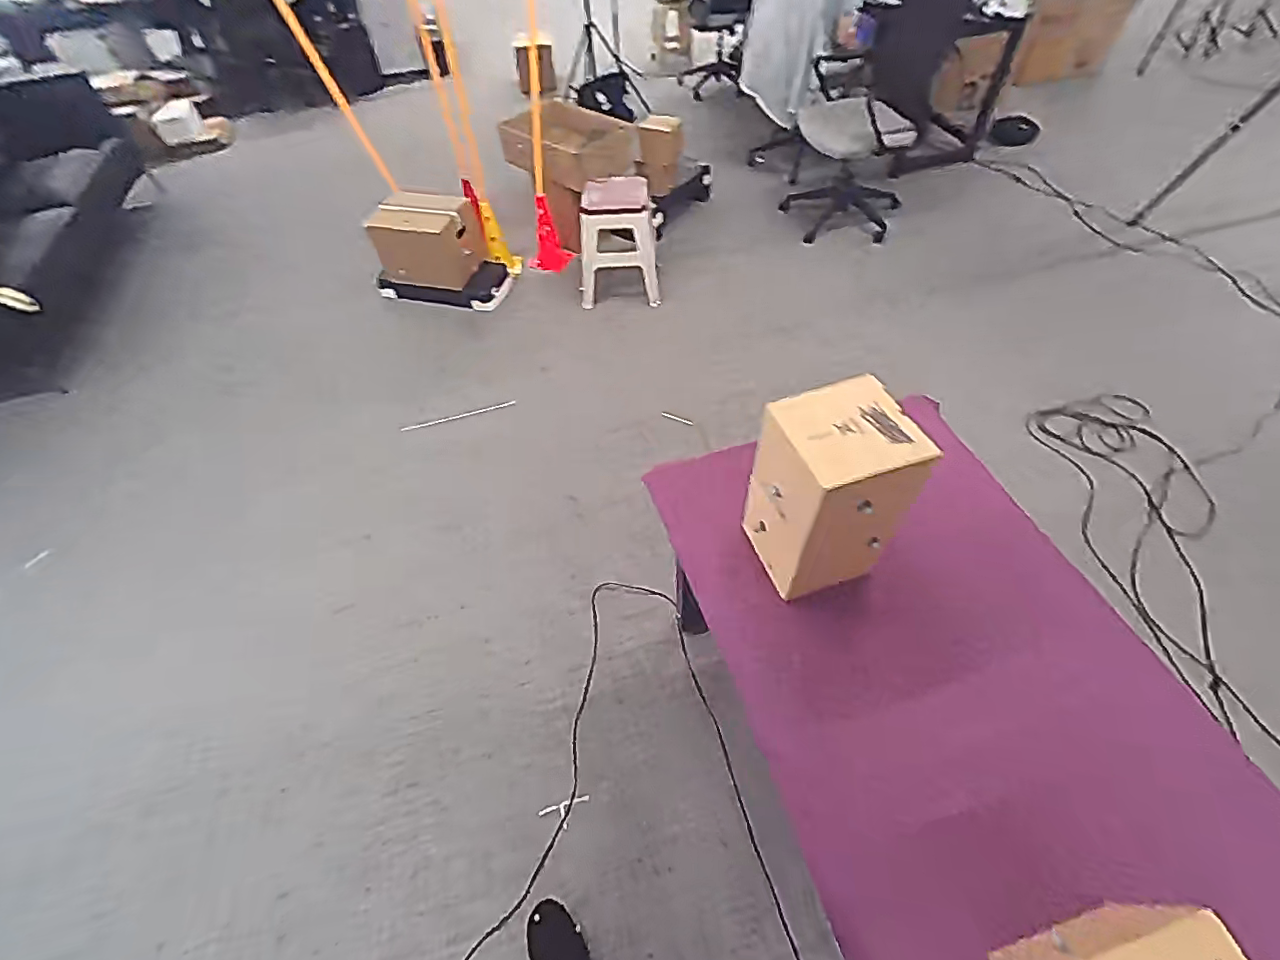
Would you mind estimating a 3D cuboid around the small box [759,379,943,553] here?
[{"bbox_3d":[0.295,-0.018,0.801,0.179,0.176,0.168,-16,53,-8],"label":"small box"}]

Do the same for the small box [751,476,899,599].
[{"bbox_3d":[0.301,0.082,0.931,0.179,0.176,0.168,-16,53,-9],"label":"small box"}]
